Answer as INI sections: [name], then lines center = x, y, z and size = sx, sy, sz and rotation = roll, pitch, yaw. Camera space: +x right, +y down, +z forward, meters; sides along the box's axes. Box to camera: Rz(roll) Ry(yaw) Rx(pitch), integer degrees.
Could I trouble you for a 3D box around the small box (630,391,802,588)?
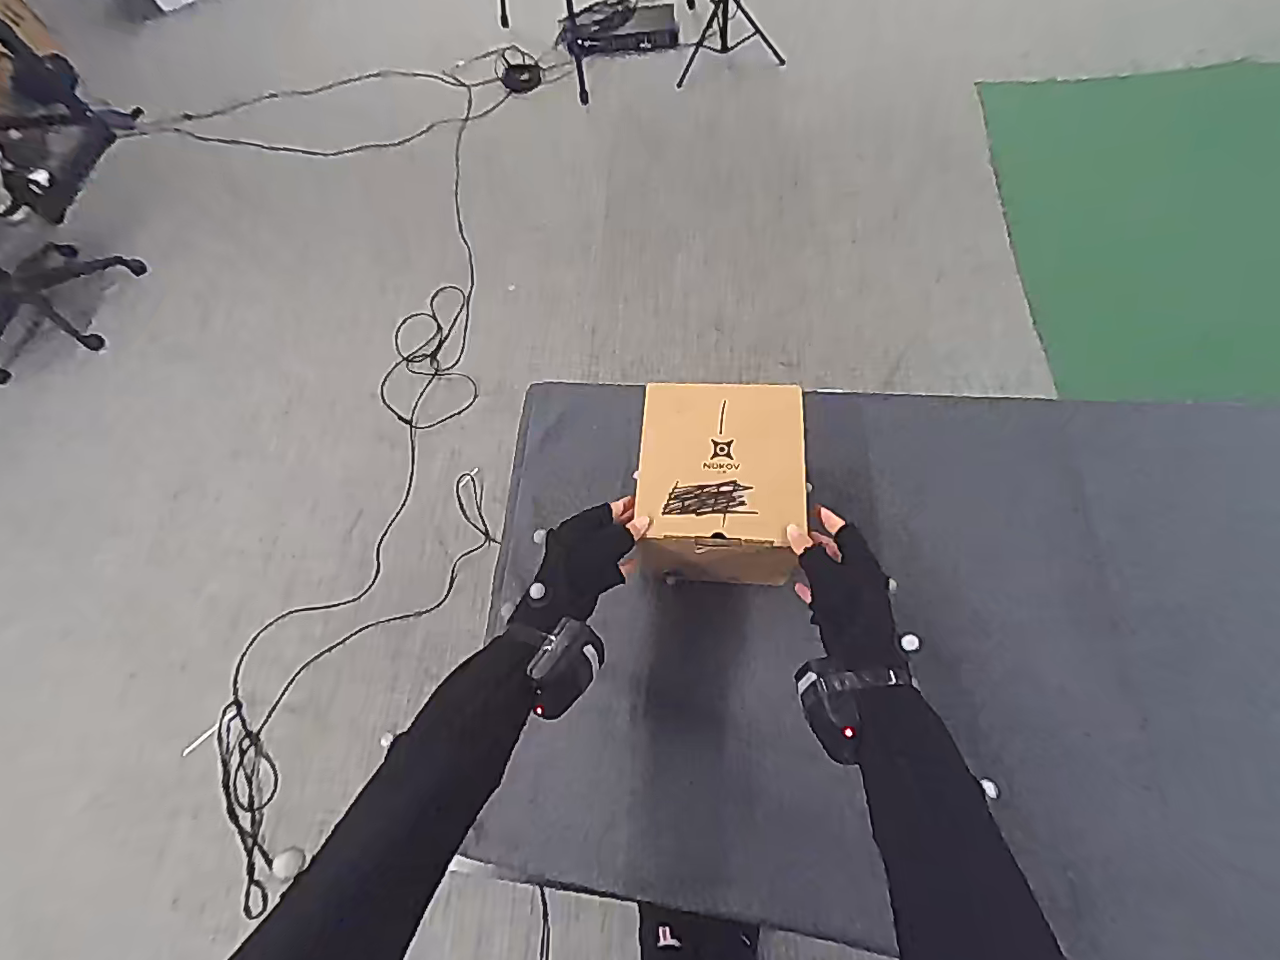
[small box]
center = 0.087, 0.018, 0.615
size = 0.168, 0.176, 0.179
rotation = 2, 66, 7
